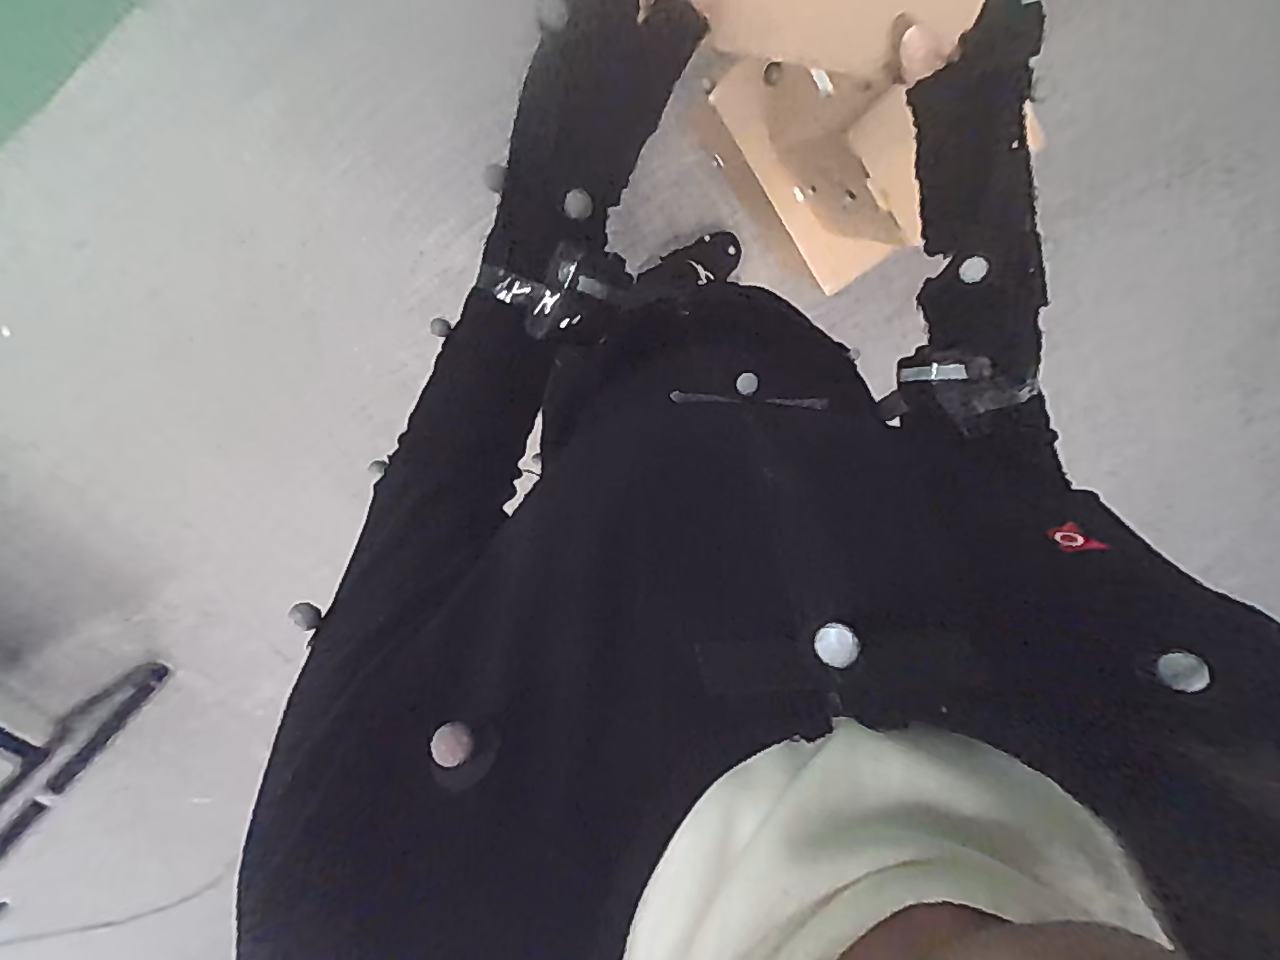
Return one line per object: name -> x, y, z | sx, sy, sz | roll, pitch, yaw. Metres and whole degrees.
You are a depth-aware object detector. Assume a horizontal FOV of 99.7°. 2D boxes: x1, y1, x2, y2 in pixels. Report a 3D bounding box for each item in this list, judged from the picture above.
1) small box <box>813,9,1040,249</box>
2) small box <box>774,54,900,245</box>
small box -> 0.342, -0.425, 0.685 | 0.179, 0.176, 0.168 | -37, 114, 17
small box -> 0.336, -0.498, 0.831 | 0.168, 0.176, 0.179 | -39, 114, 18
